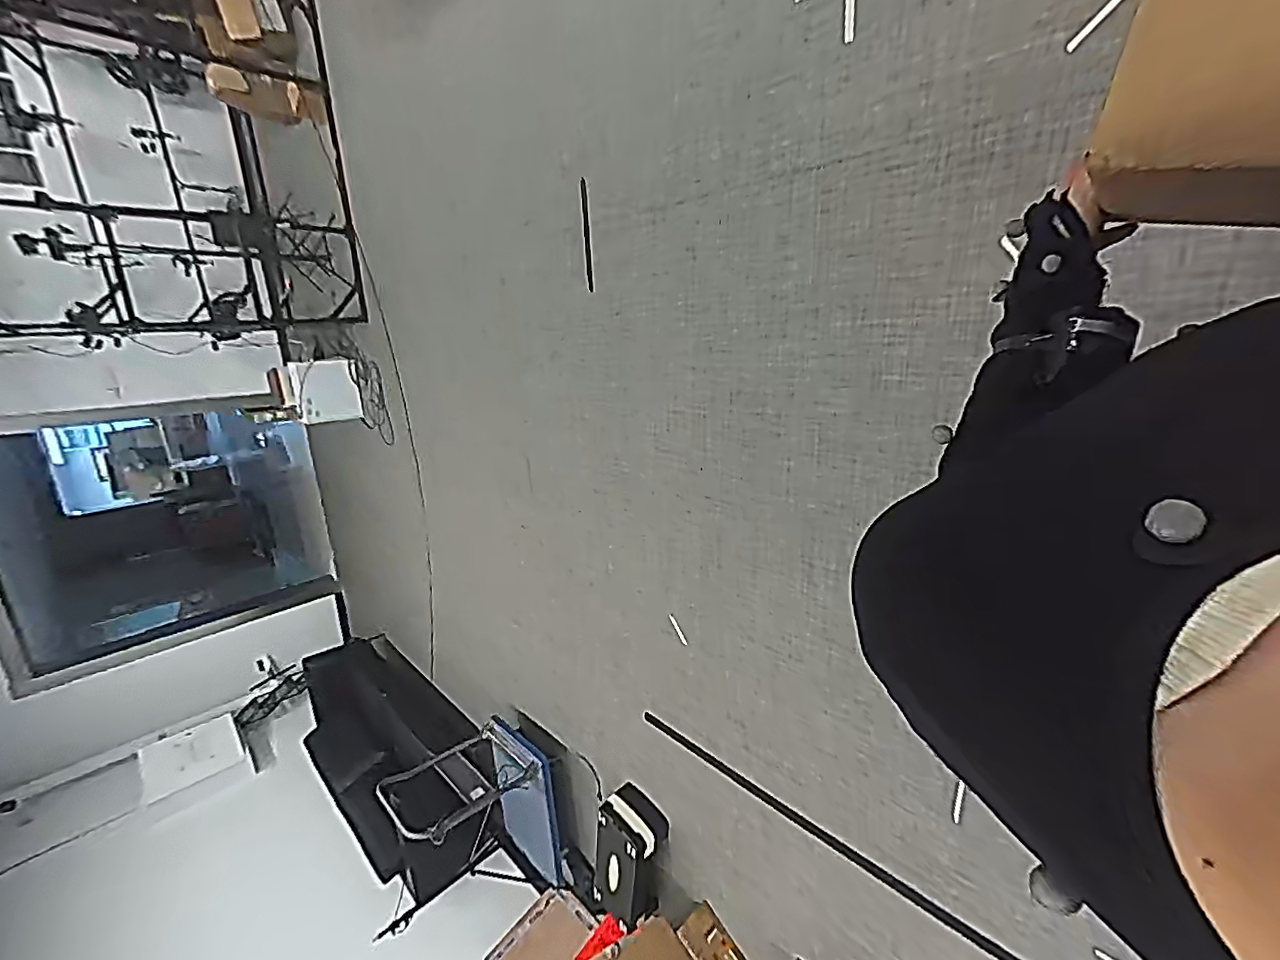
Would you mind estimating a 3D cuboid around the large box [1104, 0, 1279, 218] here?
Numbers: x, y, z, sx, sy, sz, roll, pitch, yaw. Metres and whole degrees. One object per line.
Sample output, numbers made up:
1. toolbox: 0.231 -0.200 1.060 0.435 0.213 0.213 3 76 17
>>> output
1. large box: 0.471 -0.278 0.194 0.408 0.320 0.320 21 119 34
